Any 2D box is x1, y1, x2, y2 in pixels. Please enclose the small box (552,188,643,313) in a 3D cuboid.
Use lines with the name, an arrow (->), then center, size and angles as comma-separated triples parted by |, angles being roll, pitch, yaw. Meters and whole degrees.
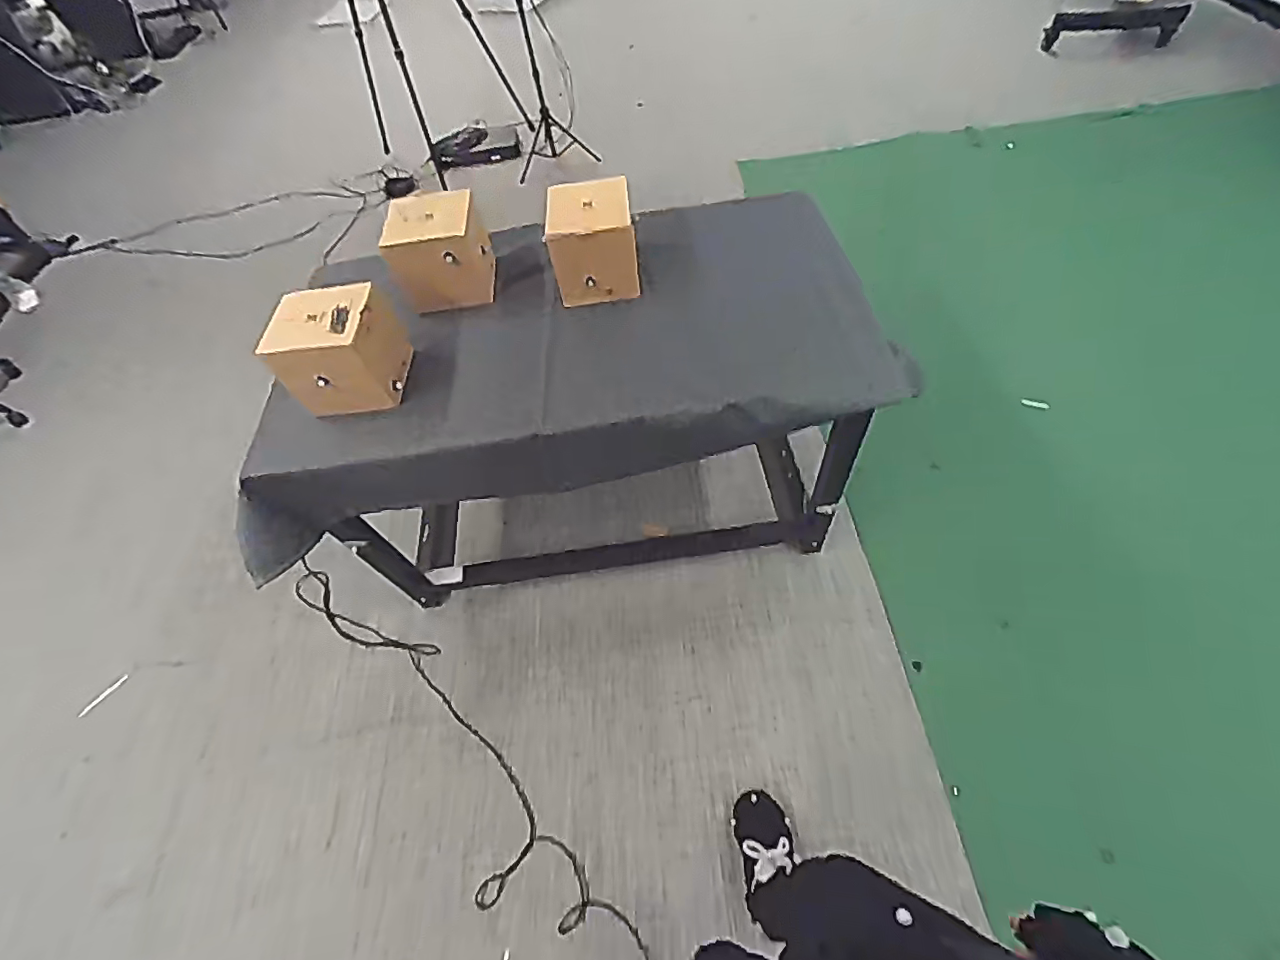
small box -> -0.084, -0.479, 1.136 | 0.168, 0.176, 0.179 | -6, 57, 3

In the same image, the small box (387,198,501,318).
small box -> -0.411, -0.474, 1.166 | 0.179, 0.176, 0.168 | -7, 56, 2

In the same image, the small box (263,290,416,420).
small box -> -0.552, -0.232, 1.025 | 0.179, 0.176, 0.168 | -5, 55, 4
